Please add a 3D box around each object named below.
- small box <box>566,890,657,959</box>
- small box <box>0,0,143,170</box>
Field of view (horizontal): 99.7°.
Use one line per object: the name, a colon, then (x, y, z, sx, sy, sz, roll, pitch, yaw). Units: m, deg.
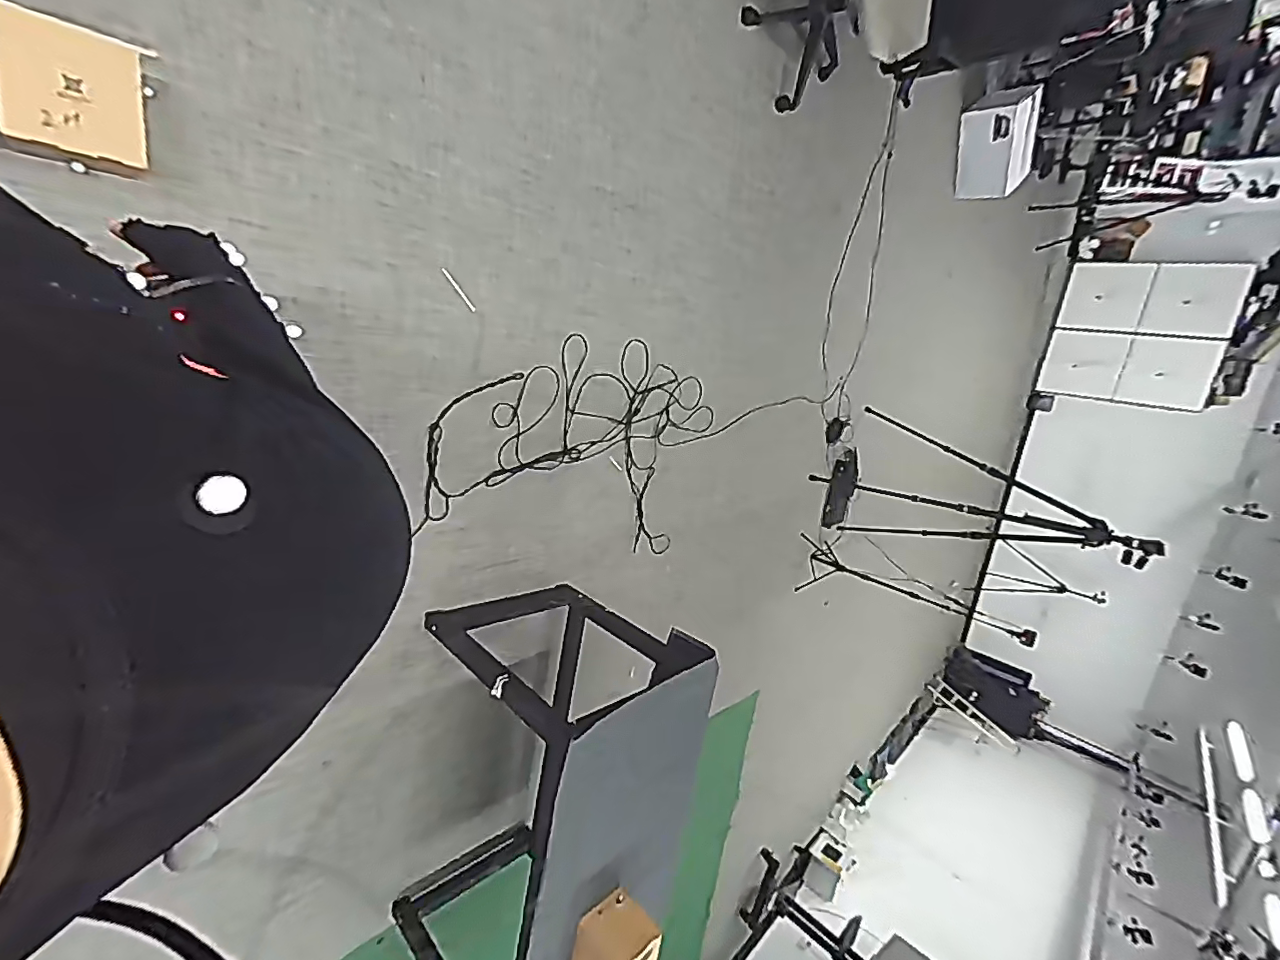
small box: (-0.082, 1.277, 1.478, 0.168, 0.176, 0.179, 0, 106, -47)
small box: (-0.936, -0.633, 0.883, 0.168, 0.176, 0.179, -6, 110, -45)
